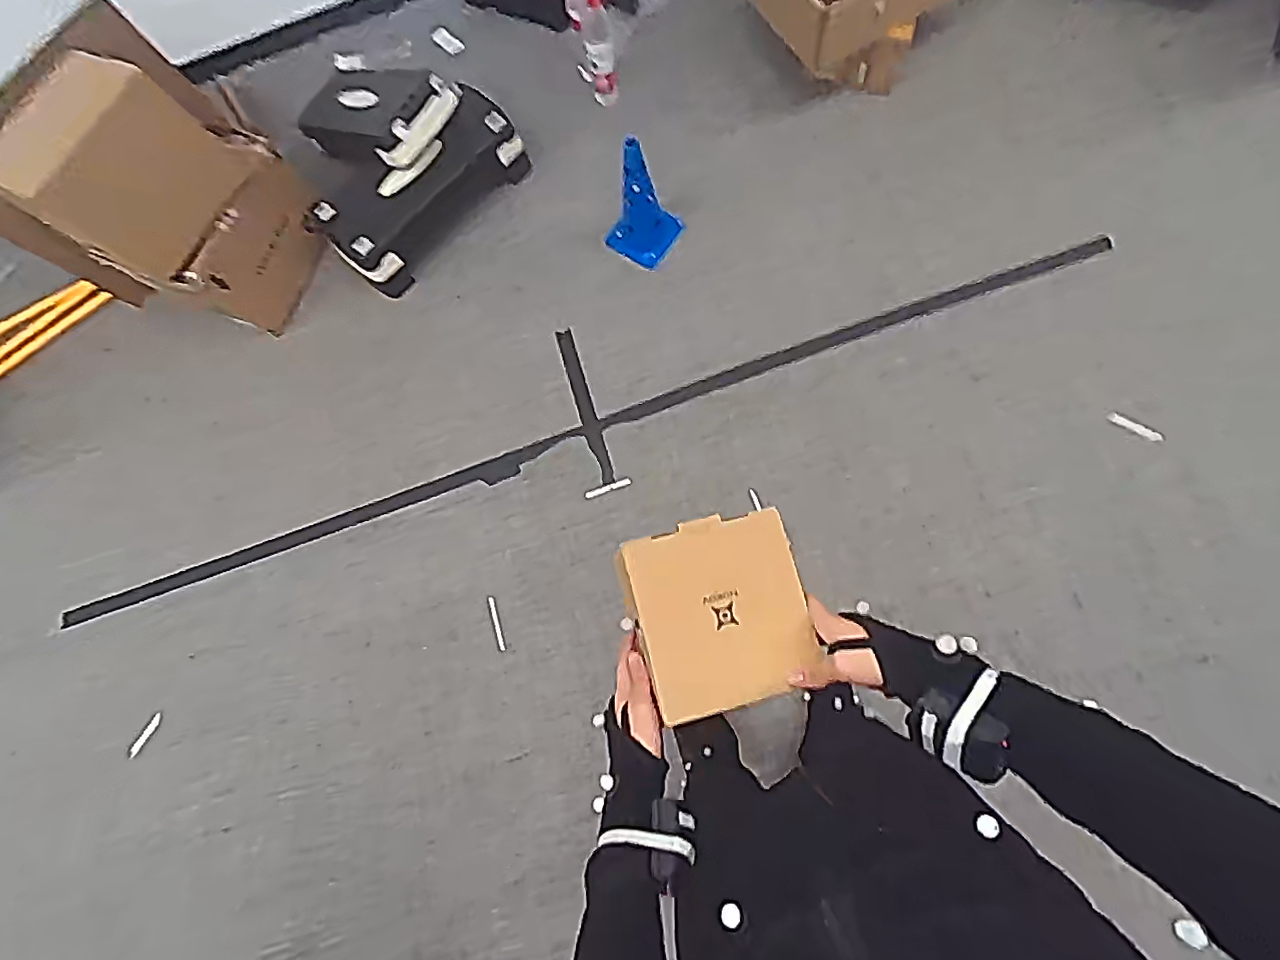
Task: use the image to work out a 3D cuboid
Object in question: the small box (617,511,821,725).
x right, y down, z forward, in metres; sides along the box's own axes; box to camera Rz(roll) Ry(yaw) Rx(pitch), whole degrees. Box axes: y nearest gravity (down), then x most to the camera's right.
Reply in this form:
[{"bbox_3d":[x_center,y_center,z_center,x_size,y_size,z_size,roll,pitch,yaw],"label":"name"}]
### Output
[{"bbox_3d":[0.073,0.147,0.605,0.168,0.176,0.179,-13,78,-7],"label":"small box"}]
